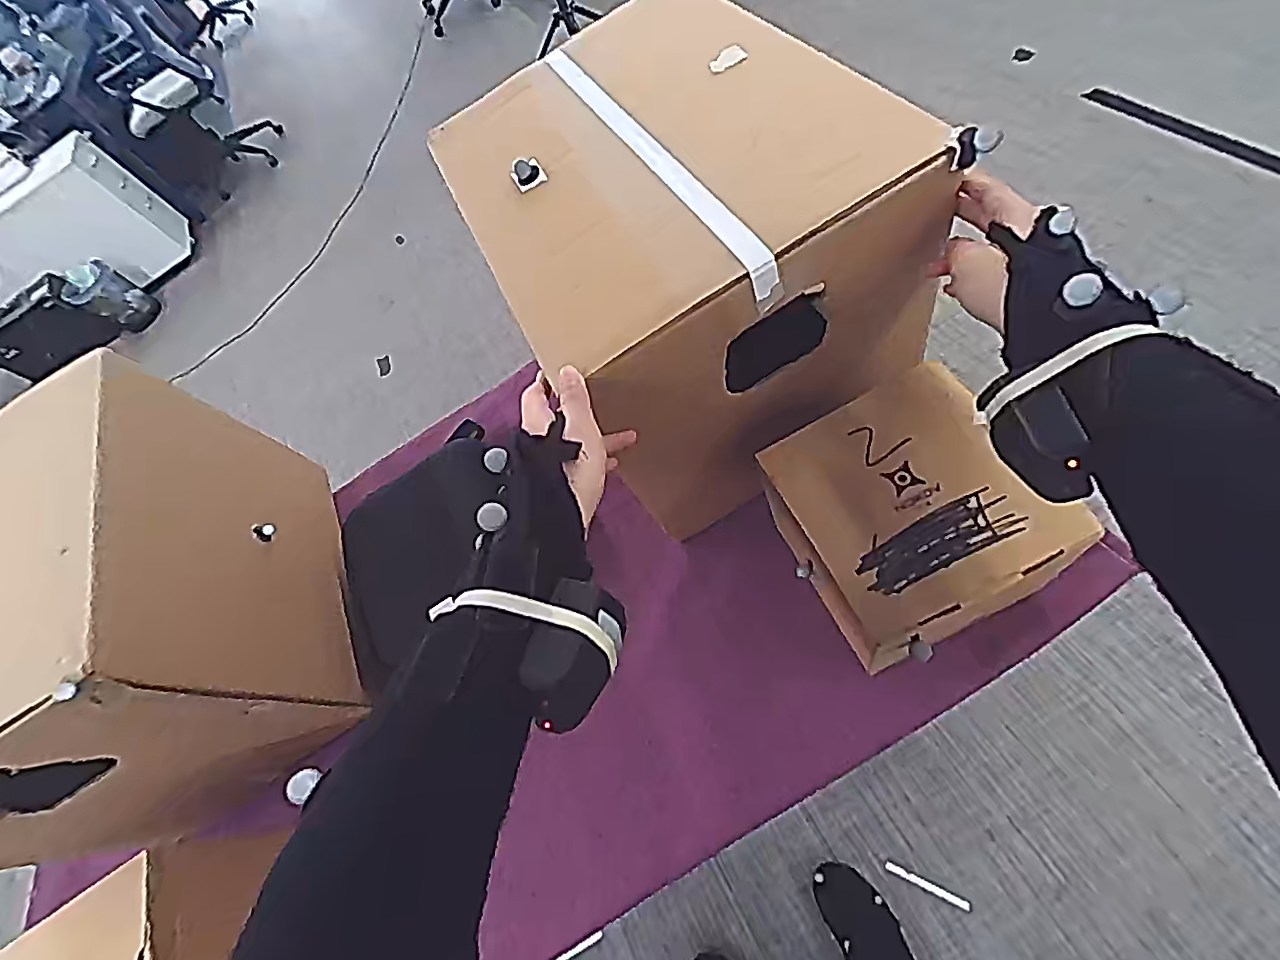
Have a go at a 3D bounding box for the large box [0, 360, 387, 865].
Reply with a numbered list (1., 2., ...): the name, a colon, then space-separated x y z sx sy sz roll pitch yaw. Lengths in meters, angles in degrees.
1. large box: -0.567 0.149 0.629 0.320 0.320 0.408 -35 61 1

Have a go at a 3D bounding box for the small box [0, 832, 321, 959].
1. small box: -0.441 0.465 0.506 0.179 0.176 0.168 -35 57 0
